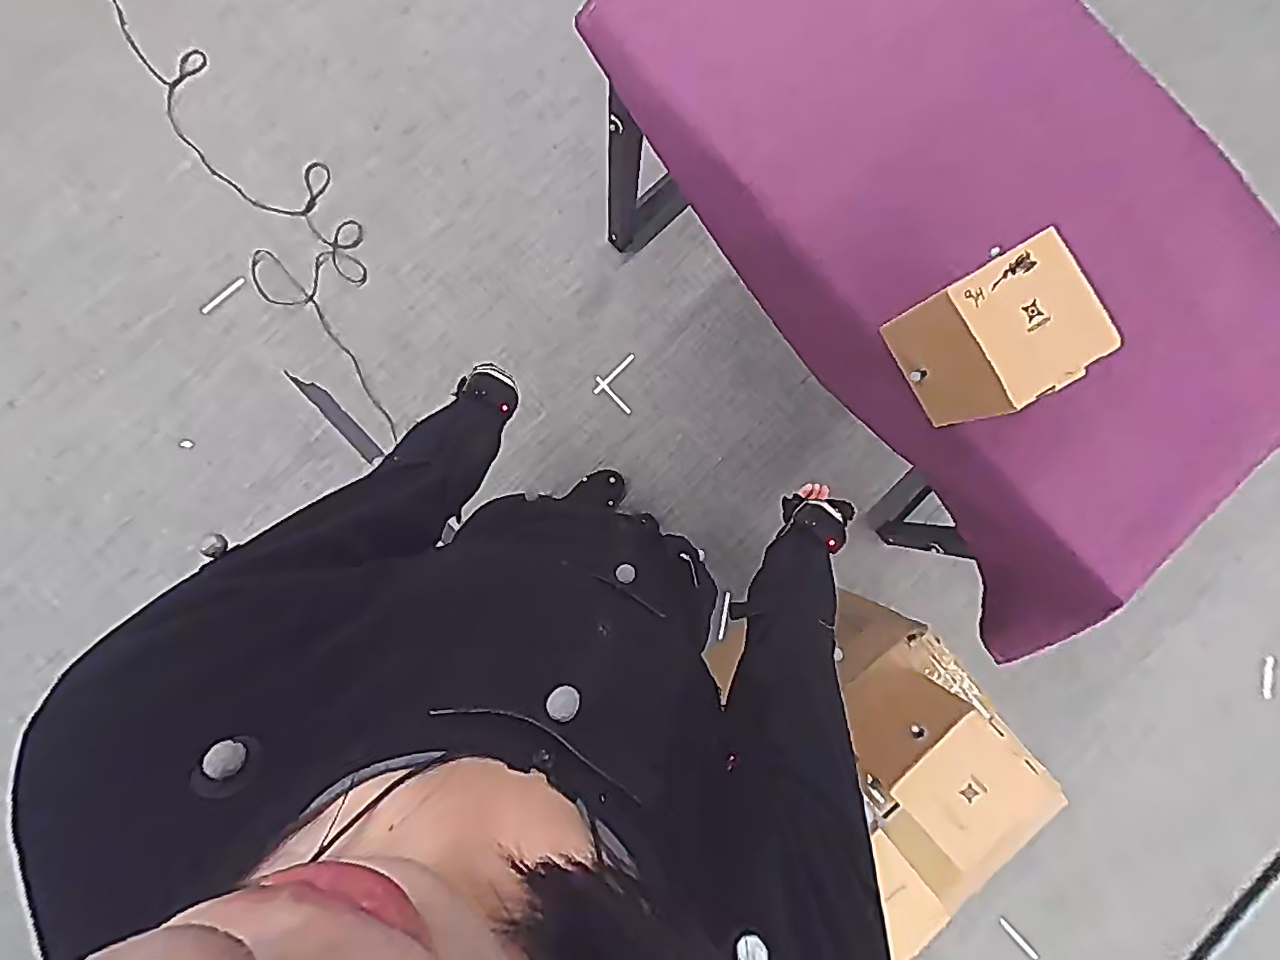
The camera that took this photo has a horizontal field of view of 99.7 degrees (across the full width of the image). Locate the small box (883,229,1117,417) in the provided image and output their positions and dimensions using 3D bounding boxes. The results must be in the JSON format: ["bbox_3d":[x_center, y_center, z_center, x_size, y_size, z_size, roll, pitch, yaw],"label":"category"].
[{"bbox_3d":[0.480,-0.199,0.748,0.168,0.176,0.179,-31,91,-5],"label":"small box"}]

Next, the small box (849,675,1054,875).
[{"bbox_3d":[0.462,0.434,0.832,0.179,0.176,0.168,-43,89,-2],"label":"small box"}]

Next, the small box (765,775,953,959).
[{"bbox_3d":[0.311,0.598,0.817,0.179,0.176,0.168,-39,90,-6],"label":"small box"}]
